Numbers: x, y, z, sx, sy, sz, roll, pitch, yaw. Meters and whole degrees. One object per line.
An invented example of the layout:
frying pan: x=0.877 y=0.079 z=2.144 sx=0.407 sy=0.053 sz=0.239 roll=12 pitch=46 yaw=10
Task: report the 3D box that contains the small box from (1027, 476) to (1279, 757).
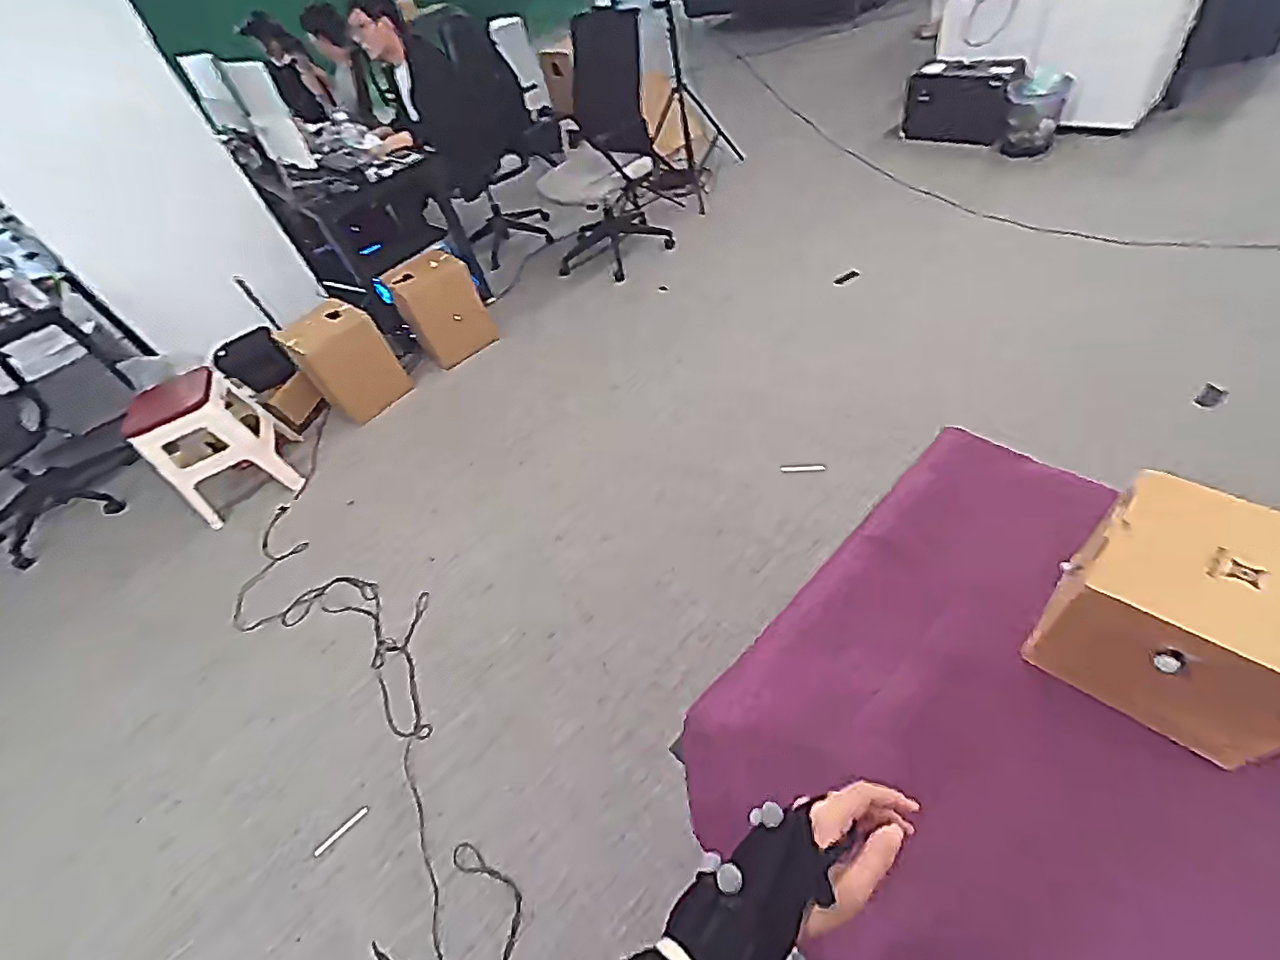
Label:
small box: x=0.522 y=0.134 z=0.519 sx=0.179 sy=0.176 sz=0.168 roll=31 pitch=63 yaw=35
